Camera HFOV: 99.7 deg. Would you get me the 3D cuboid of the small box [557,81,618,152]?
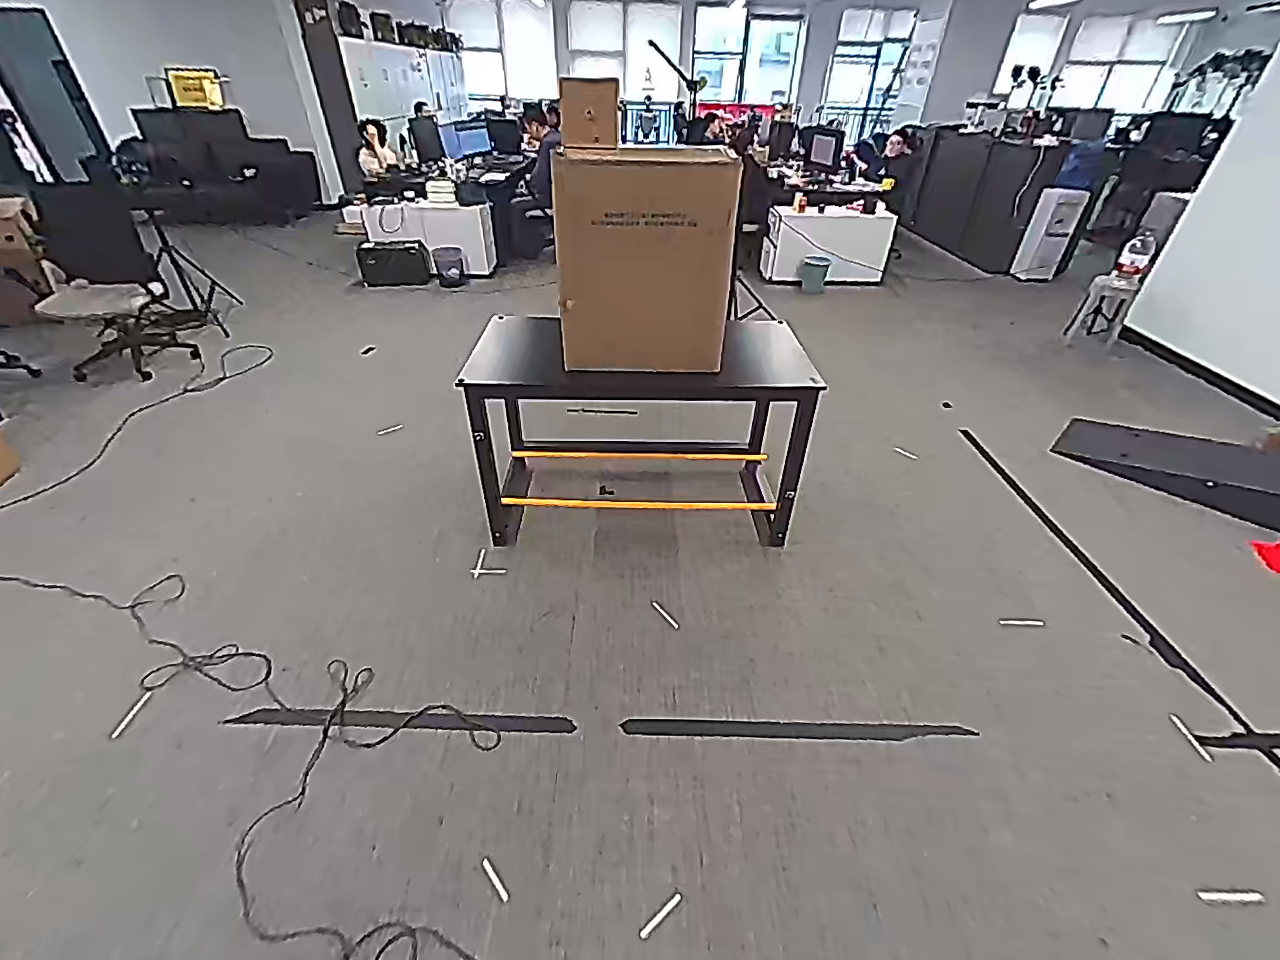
[{"bbox_3d":[-0.149,-1.077,1.602,0.168,0.176,0.179,1,36,-1],"label":"small box"}]
